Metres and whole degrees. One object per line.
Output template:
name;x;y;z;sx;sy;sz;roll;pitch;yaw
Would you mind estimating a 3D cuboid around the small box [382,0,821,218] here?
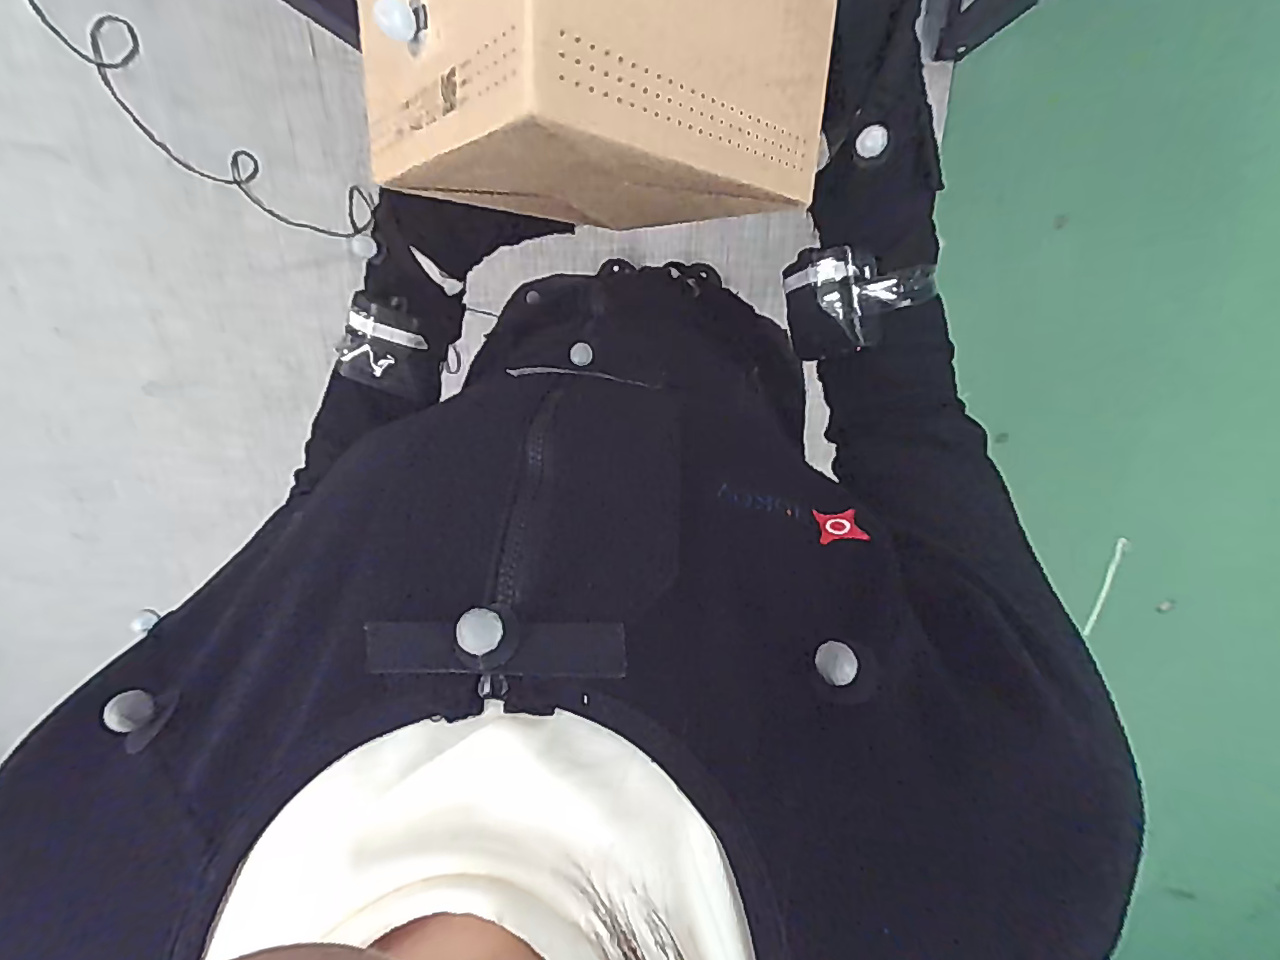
small box;-0.022;-0.243;0.278;0.168;0.179;0.176;18;113;45
